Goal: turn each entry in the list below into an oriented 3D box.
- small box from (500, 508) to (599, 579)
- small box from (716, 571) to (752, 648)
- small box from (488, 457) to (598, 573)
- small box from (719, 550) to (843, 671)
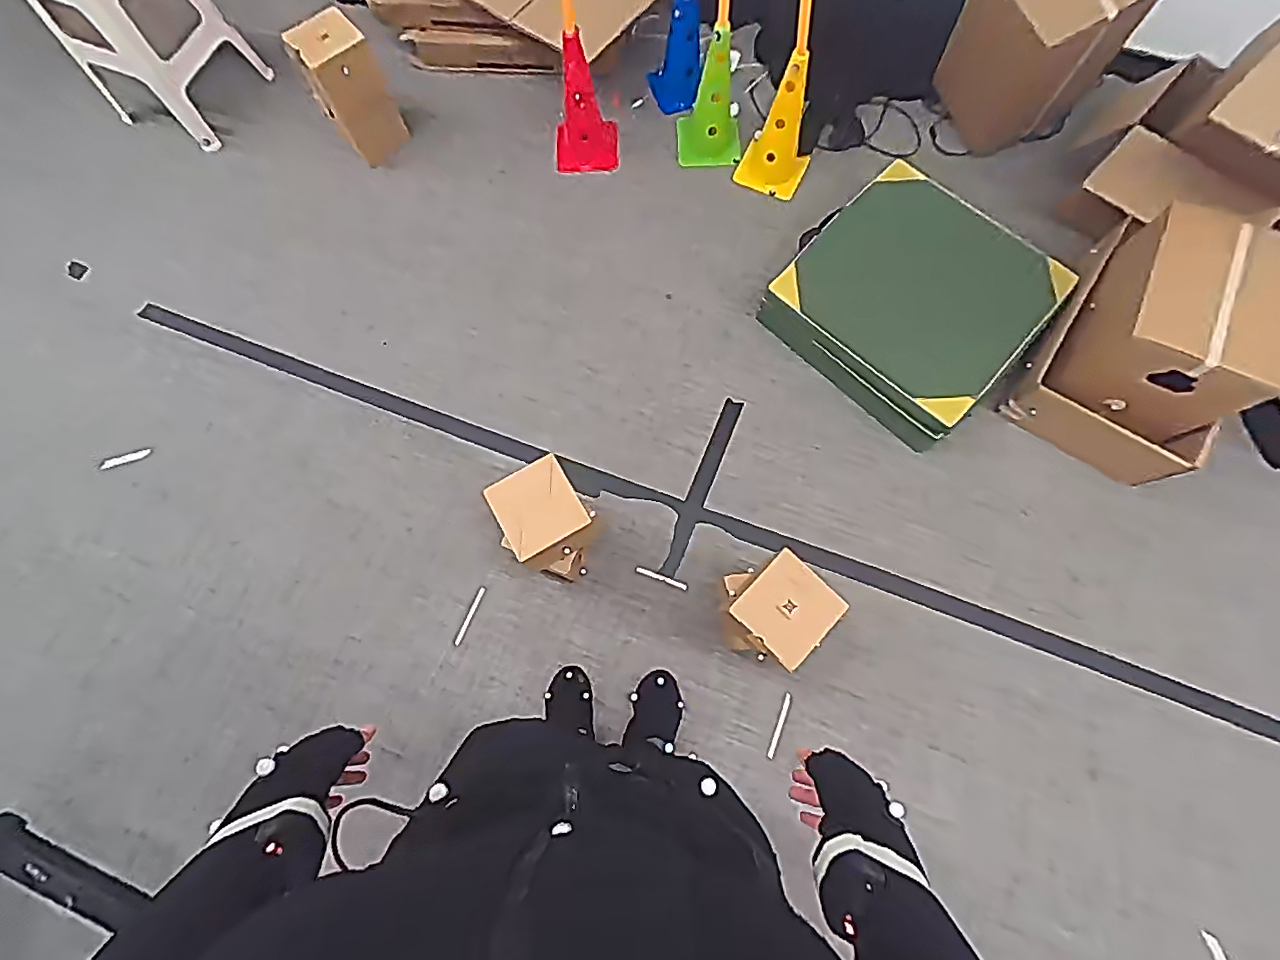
[{"bbox_3d":[-0.214,0.137,1.343,0.179,0.176,0.168,23,75,8],"label":"small box"},{"bbox_3d":[0.282,0.305,1.288,0.179,0.176,0.168,-8,76,-1],"label":"small box"},{"bbox_3d":[-0.211,0.079,1.185,0.168,0.176,0.179,-30,75,-8],"label":"small box"},{"bbox_3d":[0.281,0.272,1.128,0.179,0.176,0.168,-43,80,-11],"label":"small box"}]
